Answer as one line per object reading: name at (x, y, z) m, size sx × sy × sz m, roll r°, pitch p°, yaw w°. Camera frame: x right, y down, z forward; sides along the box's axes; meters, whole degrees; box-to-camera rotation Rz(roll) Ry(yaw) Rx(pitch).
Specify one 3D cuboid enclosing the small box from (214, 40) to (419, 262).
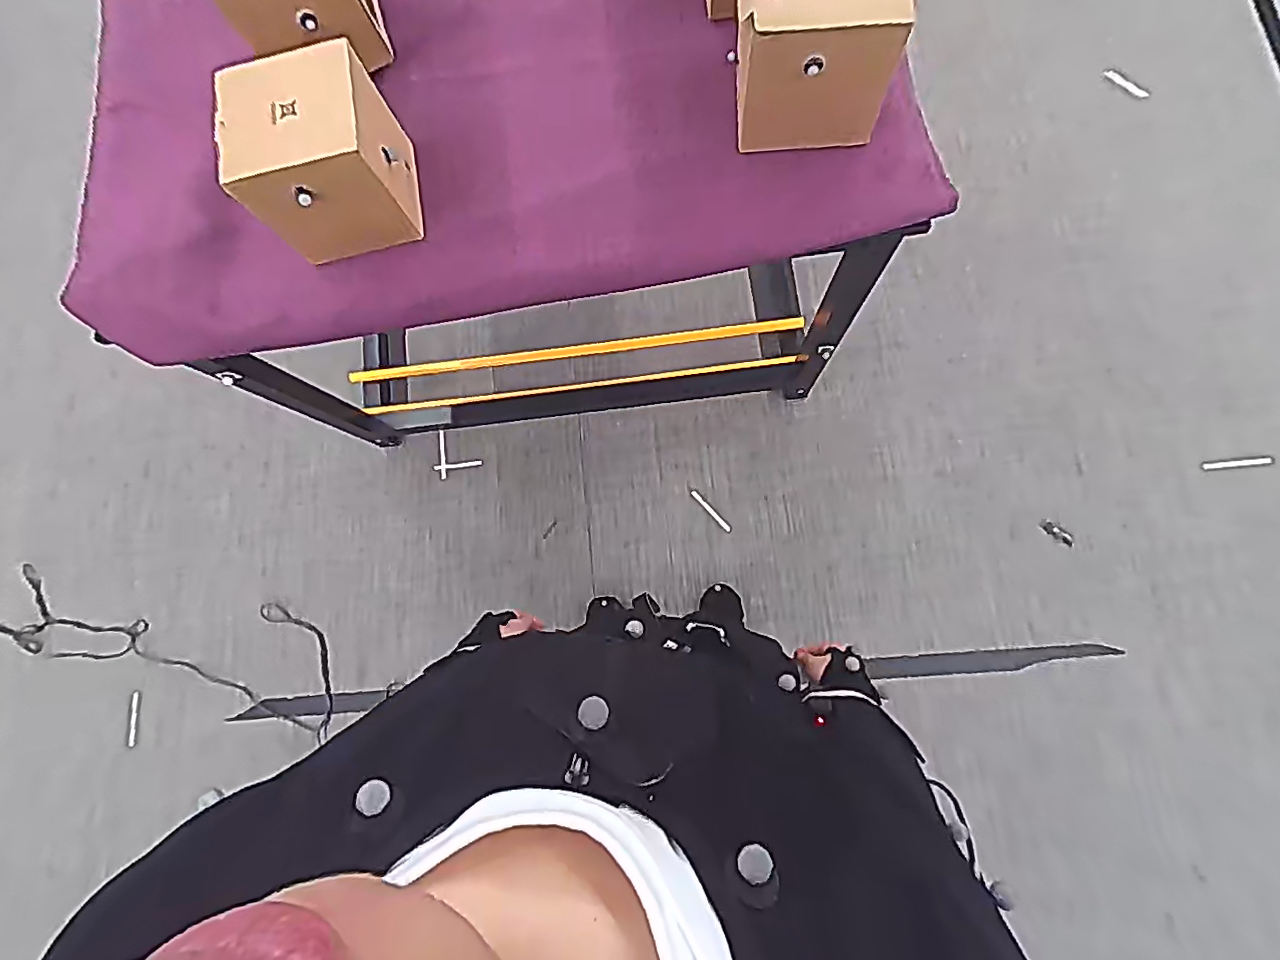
small box at (-0.414, -0.423, 0.720) m, size 0.179 × 0.176 × 0.168 m, roll -12°, pitch 78°, yaw 3°

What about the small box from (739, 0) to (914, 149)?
small box at (0.218, -0.552, 0.684) m, size 0.179 × 0.176 × 0.168 m, roll -1°, pitch 78°, yaw 5°
